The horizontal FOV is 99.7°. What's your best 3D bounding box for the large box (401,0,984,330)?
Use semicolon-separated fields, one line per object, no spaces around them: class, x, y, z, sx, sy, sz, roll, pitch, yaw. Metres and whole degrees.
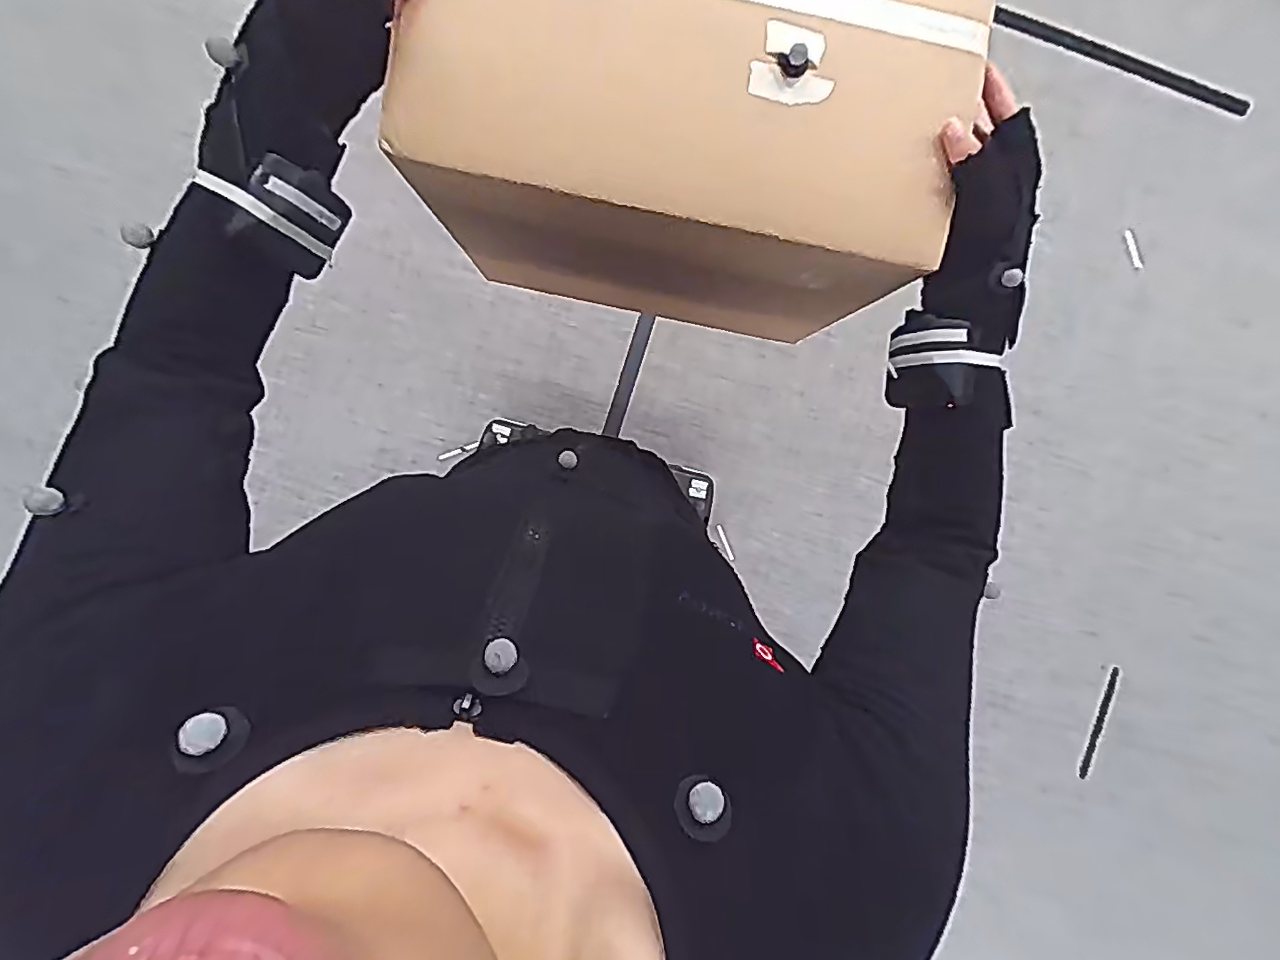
large box;0.039;-0.362;0.531;0.408;0.320;0.320;10;95;-4

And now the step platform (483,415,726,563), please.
step platform;-0.100;0.026;1.577;0.684;0.204;0.286;14;93;-5
